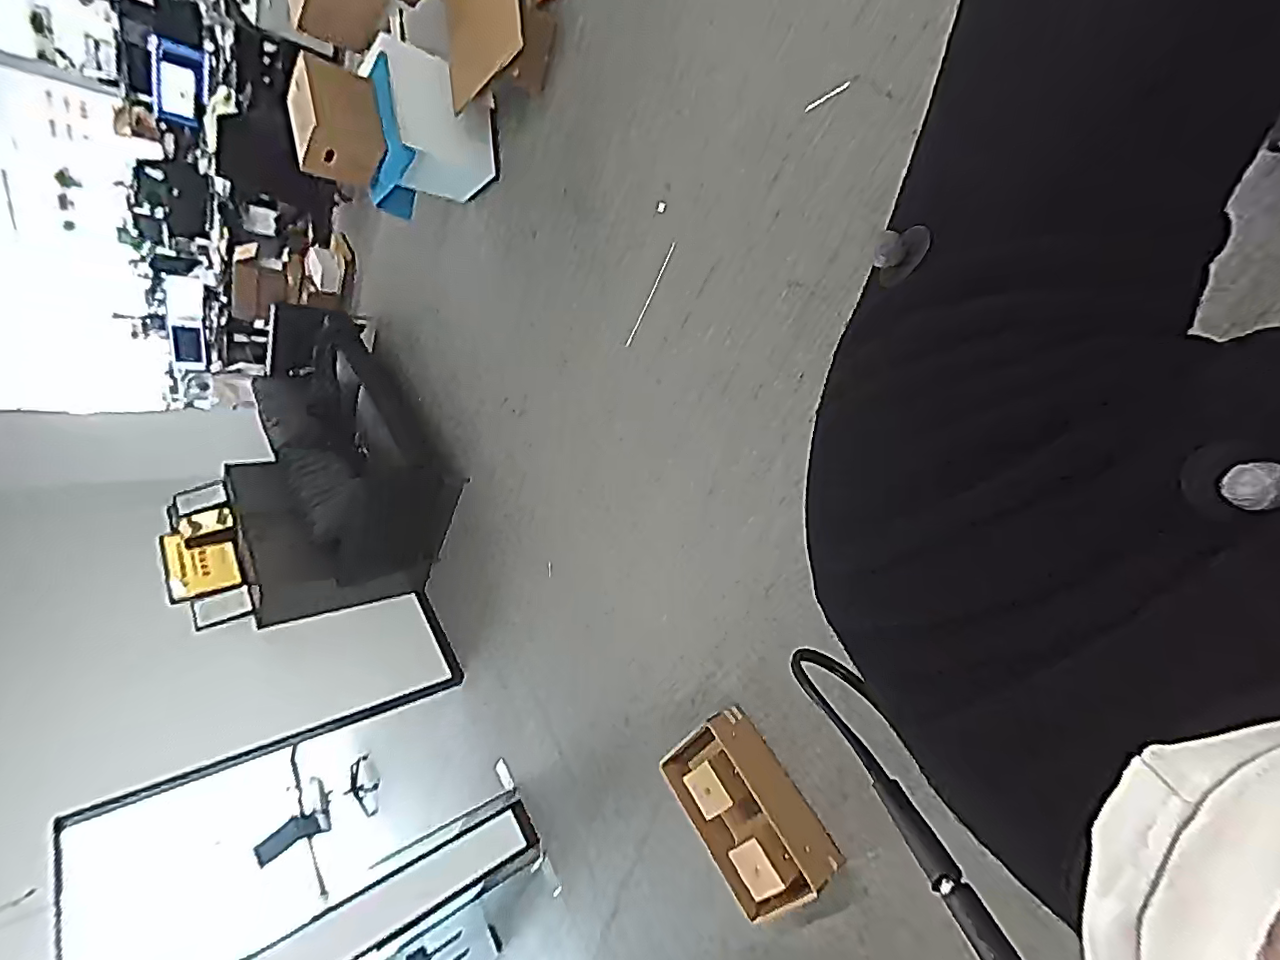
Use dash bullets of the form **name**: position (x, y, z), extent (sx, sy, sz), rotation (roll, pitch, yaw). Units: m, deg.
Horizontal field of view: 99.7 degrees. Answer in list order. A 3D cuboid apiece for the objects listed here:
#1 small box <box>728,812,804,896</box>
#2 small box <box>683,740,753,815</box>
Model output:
- **small box**: position (0.454, 1.322, 1.922), extent (0.168, 0.176, 0.179), rotation (53, 130, 28)
- **small box**: position (0.303, 1.123, 2.053), extent (0.168, 0.176, 0.179), rotation (54, 129, 27)
